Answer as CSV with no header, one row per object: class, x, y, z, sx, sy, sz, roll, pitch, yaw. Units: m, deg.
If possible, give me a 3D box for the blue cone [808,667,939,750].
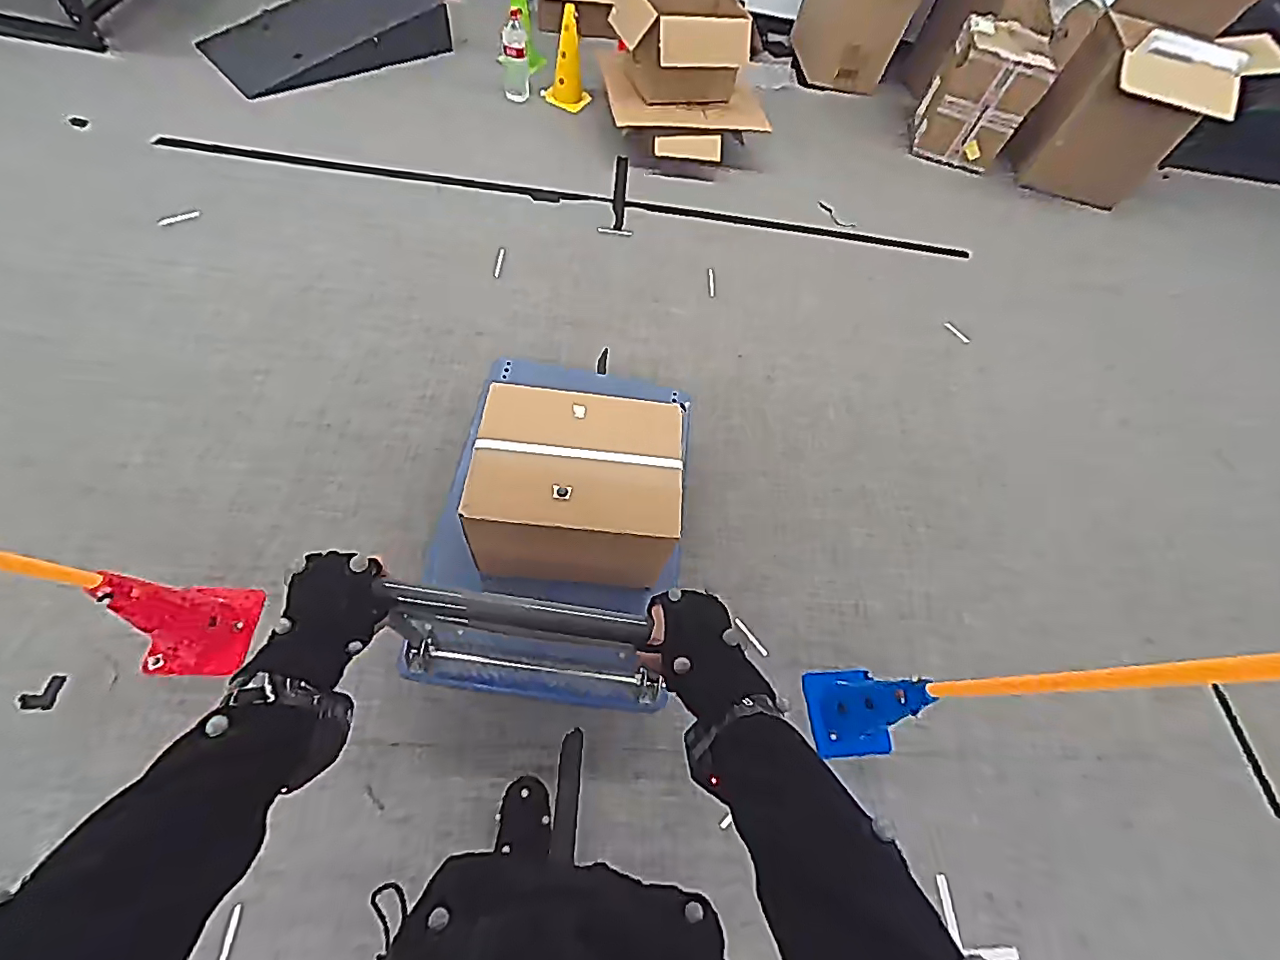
blue cone,0.554,0.493,1.227,0.193,0.380,0.192,2,59,-9
